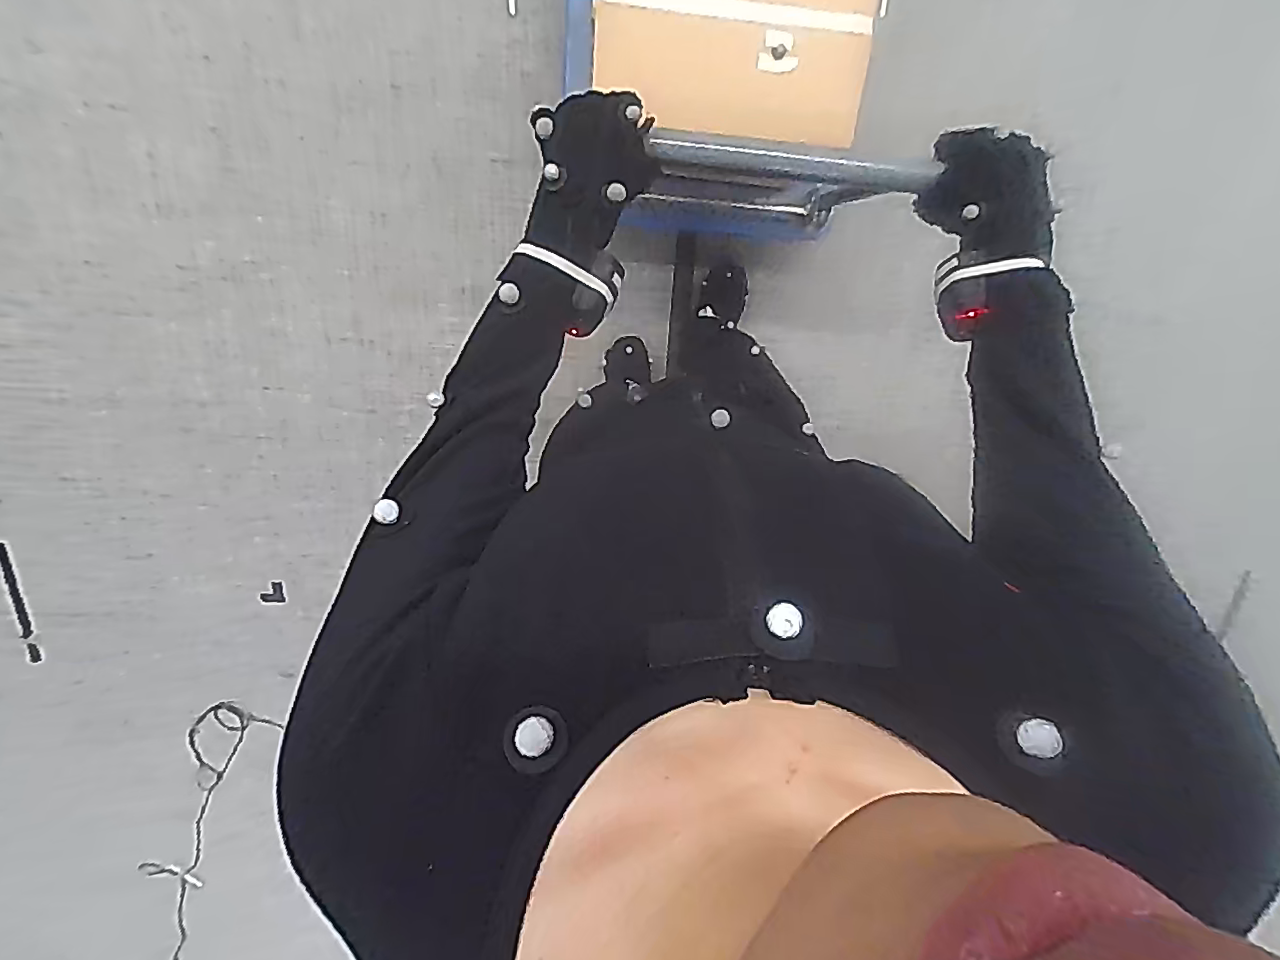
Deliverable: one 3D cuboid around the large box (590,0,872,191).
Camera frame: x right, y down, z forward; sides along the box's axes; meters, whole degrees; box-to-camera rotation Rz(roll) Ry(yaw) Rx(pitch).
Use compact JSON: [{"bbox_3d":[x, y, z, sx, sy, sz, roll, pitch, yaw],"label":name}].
[{"bbox_3d":[0.121,-0.704,0.916,0.408,0.320,0.320,3,109,-5],"label":"large box"}]
